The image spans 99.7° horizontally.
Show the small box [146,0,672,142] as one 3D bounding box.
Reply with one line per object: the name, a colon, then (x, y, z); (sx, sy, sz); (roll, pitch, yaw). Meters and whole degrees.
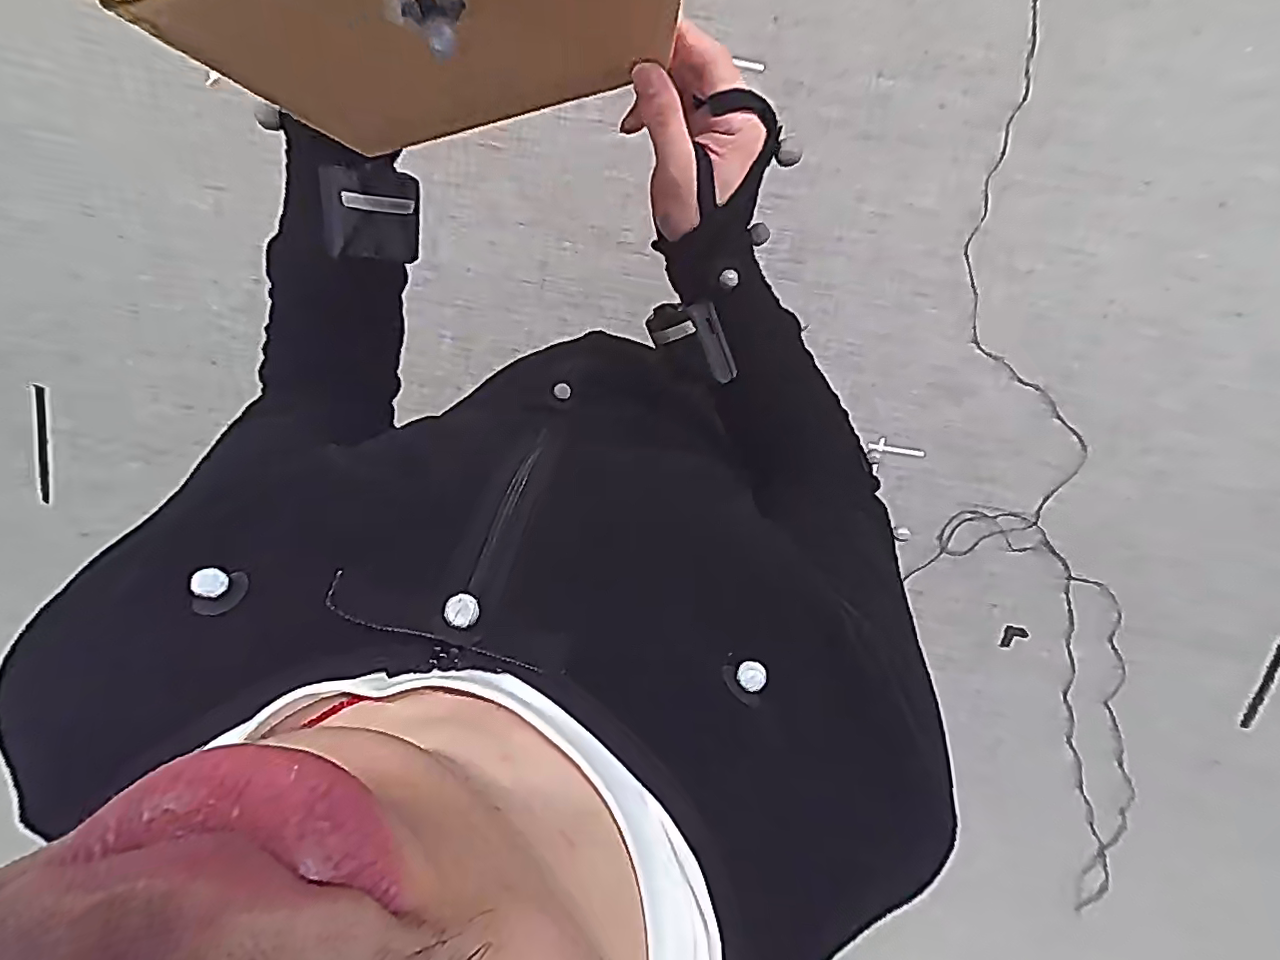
small box: (-0.083, -0.256, 0.206); (0.179, 0.176, 0.168); (-14, 109, 2)
